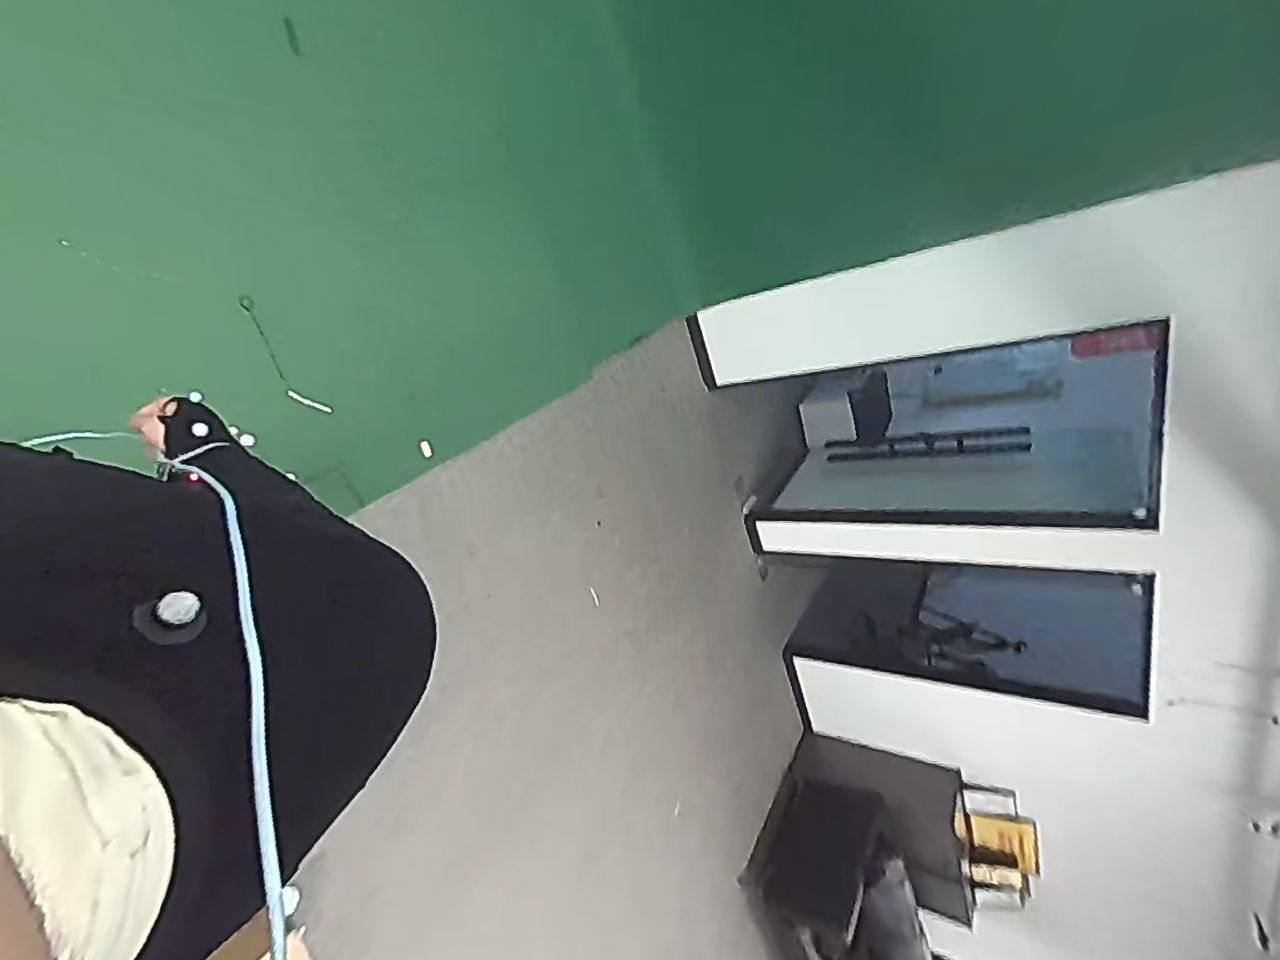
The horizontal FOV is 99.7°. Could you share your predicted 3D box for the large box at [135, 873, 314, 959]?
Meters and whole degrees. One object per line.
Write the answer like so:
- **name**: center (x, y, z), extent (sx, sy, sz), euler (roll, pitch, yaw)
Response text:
- **large box**: center (-0.980, 1.214, 1.201), extent (0.408, 0.320, 0.320), euler (-29, 111, -50)
